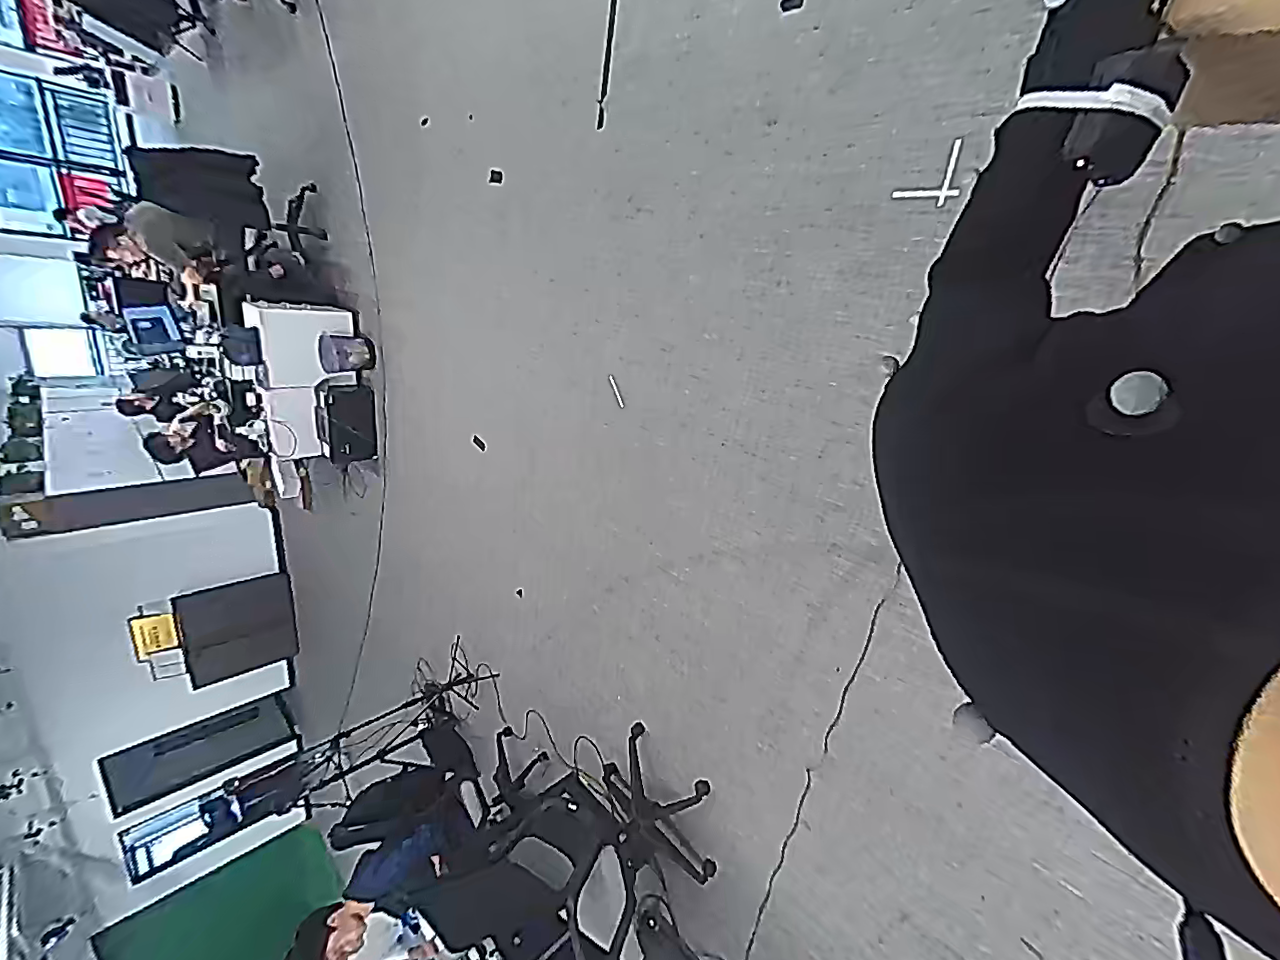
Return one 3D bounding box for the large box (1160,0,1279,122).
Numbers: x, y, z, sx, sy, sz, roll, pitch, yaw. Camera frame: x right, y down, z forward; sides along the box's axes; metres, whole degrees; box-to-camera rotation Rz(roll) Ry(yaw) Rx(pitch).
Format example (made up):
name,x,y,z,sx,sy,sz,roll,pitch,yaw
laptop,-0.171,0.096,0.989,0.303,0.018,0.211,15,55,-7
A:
name,x,y,z,sx,sy,sz,roll,pitch,yaw
large box,0.600,-0.414,0.283,0.408,0.320,0.320,24,122,38
